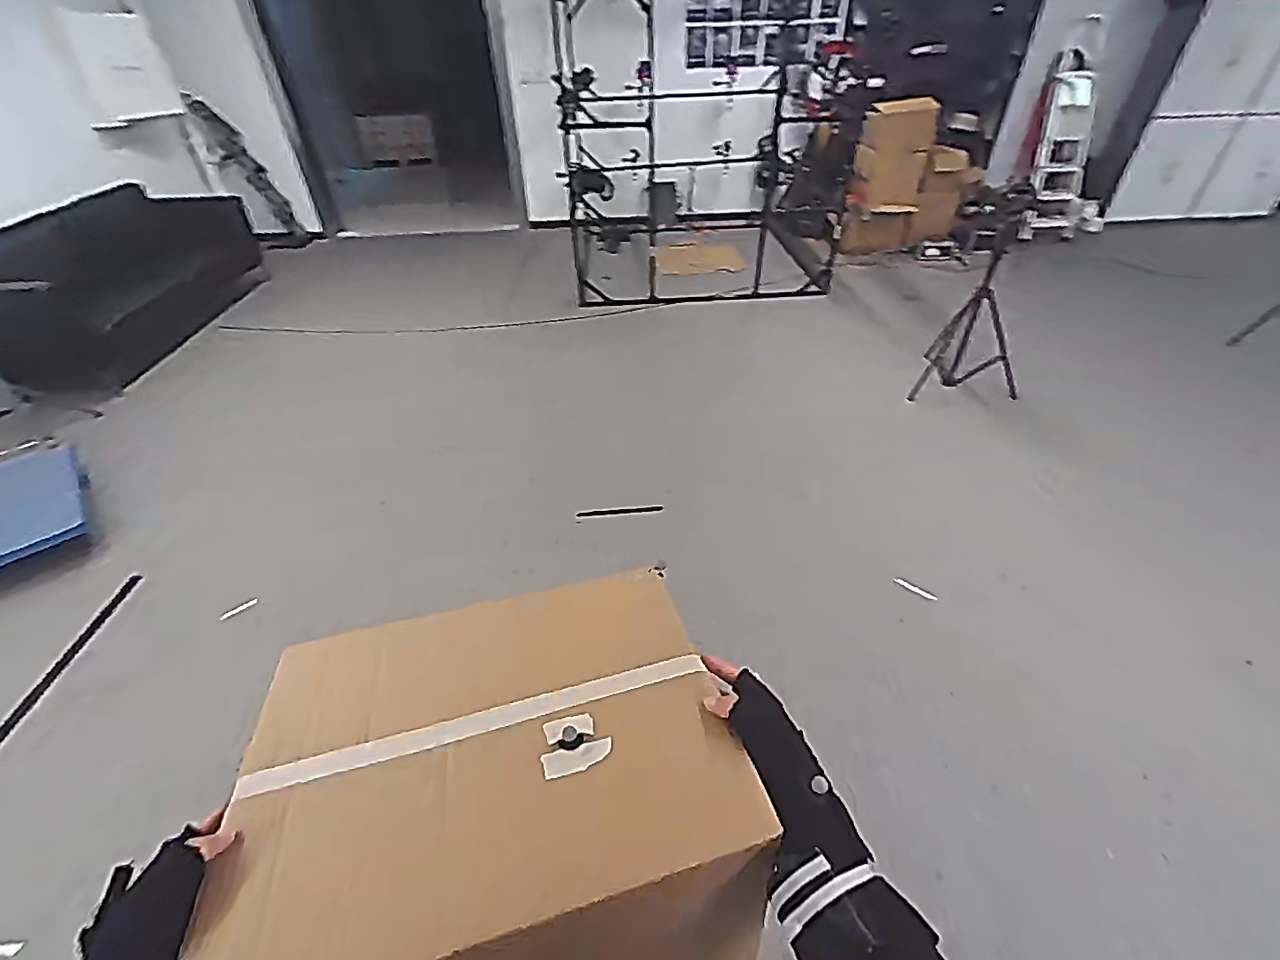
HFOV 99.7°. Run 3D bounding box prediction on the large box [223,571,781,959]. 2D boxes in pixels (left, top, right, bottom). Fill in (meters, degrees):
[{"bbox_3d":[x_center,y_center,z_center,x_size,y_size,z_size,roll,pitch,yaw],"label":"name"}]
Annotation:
[{"bbox_3d":[-0.114,0.347,0.577,0.408,0.320,0.320,-10,33,-12],"label":"large box"}]
